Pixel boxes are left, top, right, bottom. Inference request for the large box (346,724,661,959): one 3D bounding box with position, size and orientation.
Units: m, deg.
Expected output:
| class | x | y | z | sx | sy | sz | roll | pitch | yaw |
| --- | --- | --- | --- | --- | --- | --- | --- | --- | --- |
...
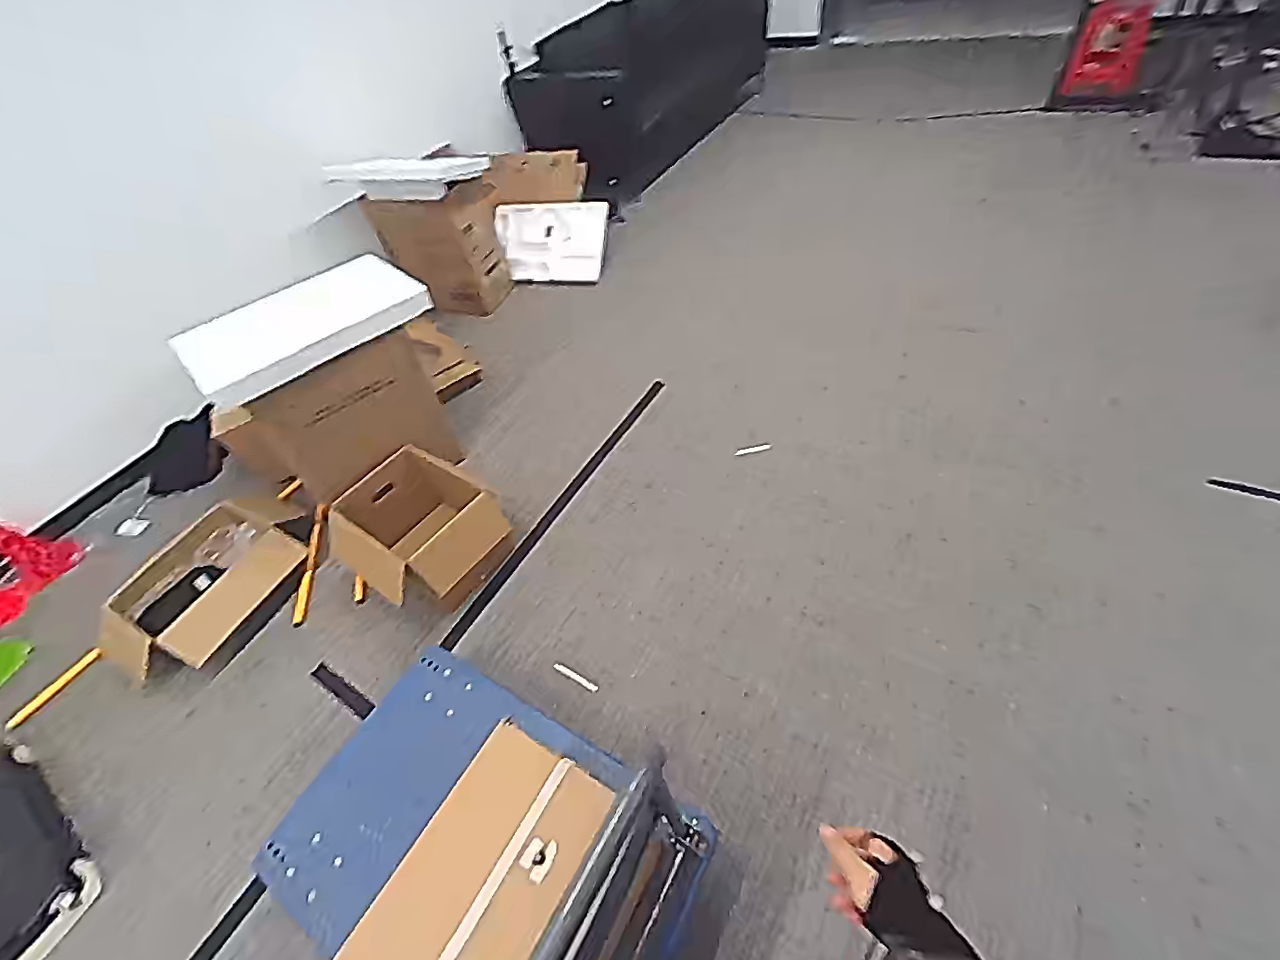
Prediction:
| class | x | y | z | sx | sy | sz | roll | pitch | yaw |
| --- | --- | --- | --- | --- | --- | --- | --- | --- | --- |
| large box | -0.202 | 0.738 | 0.959 | 0.320 | 0.320 | 0.408 | 19 | 55 | 25 |
